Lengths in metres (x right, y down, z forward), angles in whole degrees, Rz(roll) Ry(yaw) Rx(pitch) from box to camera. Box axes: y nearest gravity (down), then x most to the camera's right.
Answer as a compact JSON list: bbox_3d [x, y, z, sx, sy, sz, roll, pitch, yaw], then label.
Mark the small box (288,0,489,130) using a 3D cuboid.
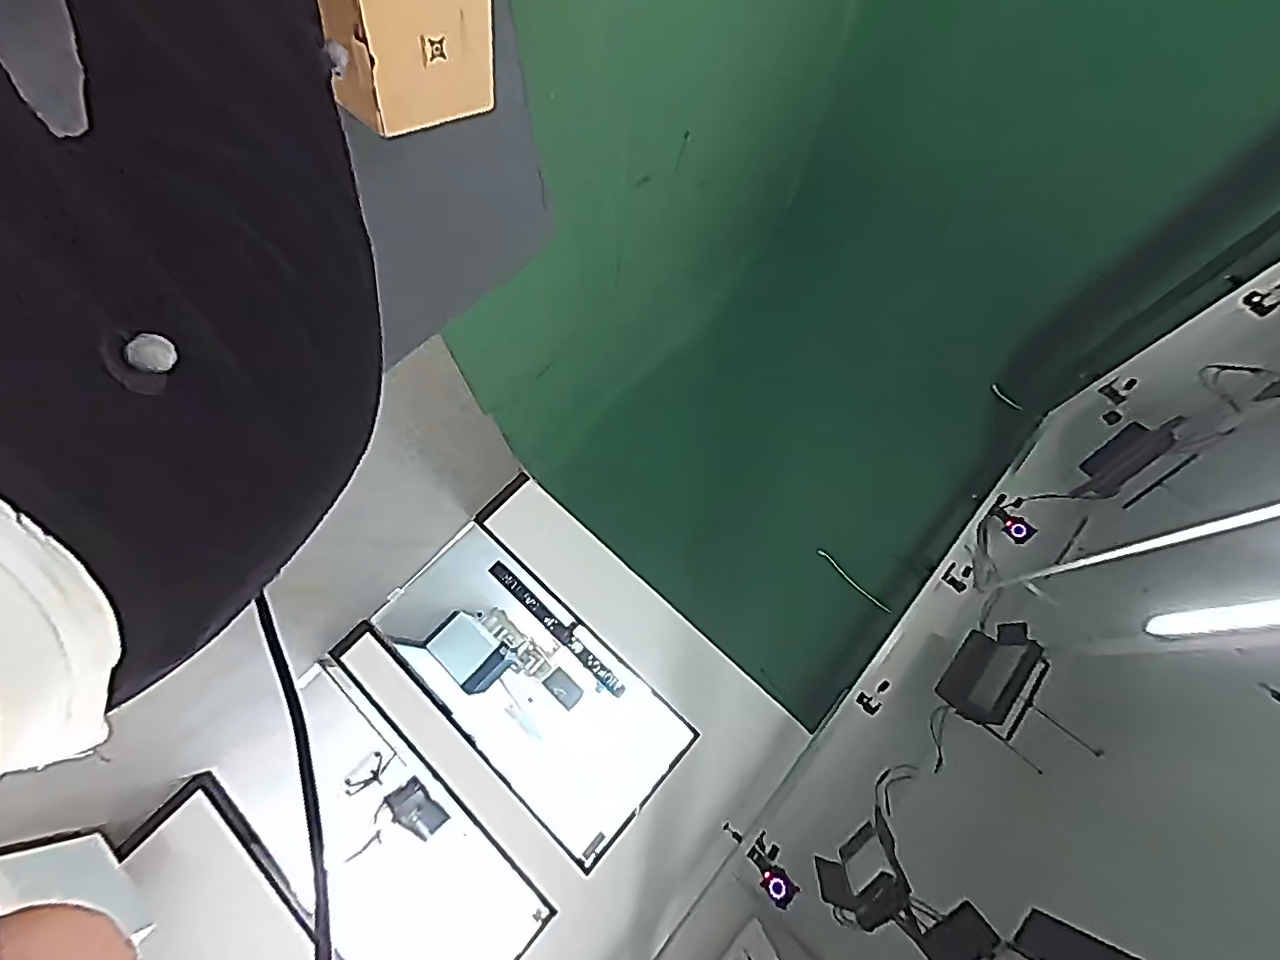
[{"bbox_3d":[-0.308,-0.571,0.659,0.179,0.176,0.168,-42,167,-31],"label":"small box"}]
